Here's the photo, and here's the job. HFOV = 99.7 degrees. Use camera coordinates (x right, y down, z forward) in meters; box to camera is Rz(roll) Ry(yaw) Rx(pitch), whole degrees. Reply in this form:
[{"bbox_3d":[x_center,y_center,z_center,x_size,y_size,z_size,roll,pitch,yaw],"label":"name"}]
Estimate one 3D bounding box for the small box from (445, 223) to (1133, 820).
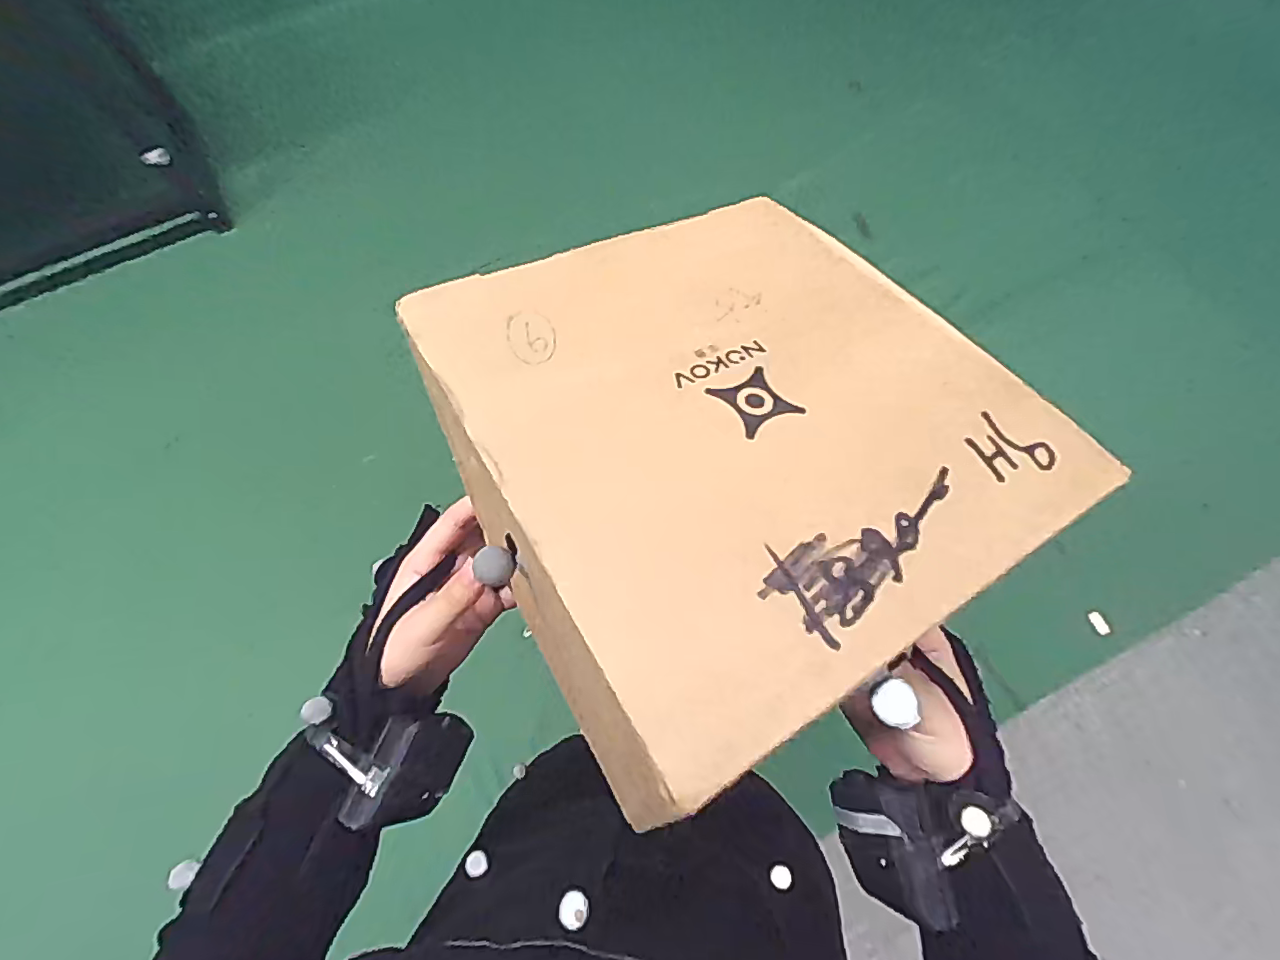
[{"bbox_3d":[0.036,0.022,0.246,0.168,0.176,0.179,-26,61,-19],"label":"small box"}]
